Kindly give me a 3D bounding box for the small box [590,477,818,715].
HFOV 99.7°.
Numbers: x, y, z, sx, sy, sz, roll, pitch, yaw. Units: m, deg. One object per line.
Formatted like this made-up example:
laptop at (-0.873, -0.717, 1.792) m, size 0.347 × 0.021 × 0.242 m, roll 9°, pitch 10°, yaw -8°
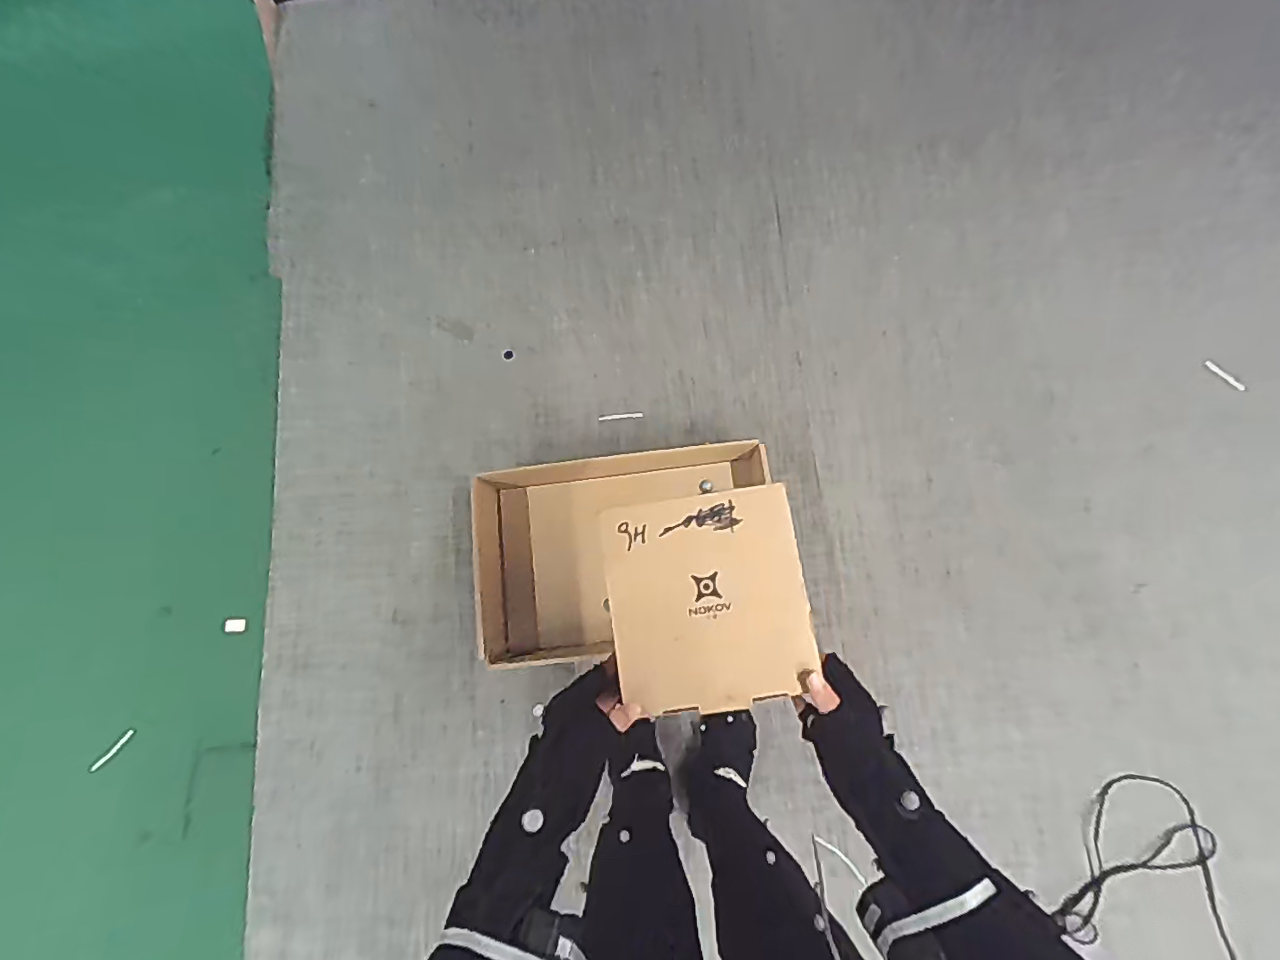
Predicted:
small box at (0.057, 0.108, 0.535) m, size 0.168 × 0.176 × 0.179 m, roll -12°, pitch 80°, yaw 1°
